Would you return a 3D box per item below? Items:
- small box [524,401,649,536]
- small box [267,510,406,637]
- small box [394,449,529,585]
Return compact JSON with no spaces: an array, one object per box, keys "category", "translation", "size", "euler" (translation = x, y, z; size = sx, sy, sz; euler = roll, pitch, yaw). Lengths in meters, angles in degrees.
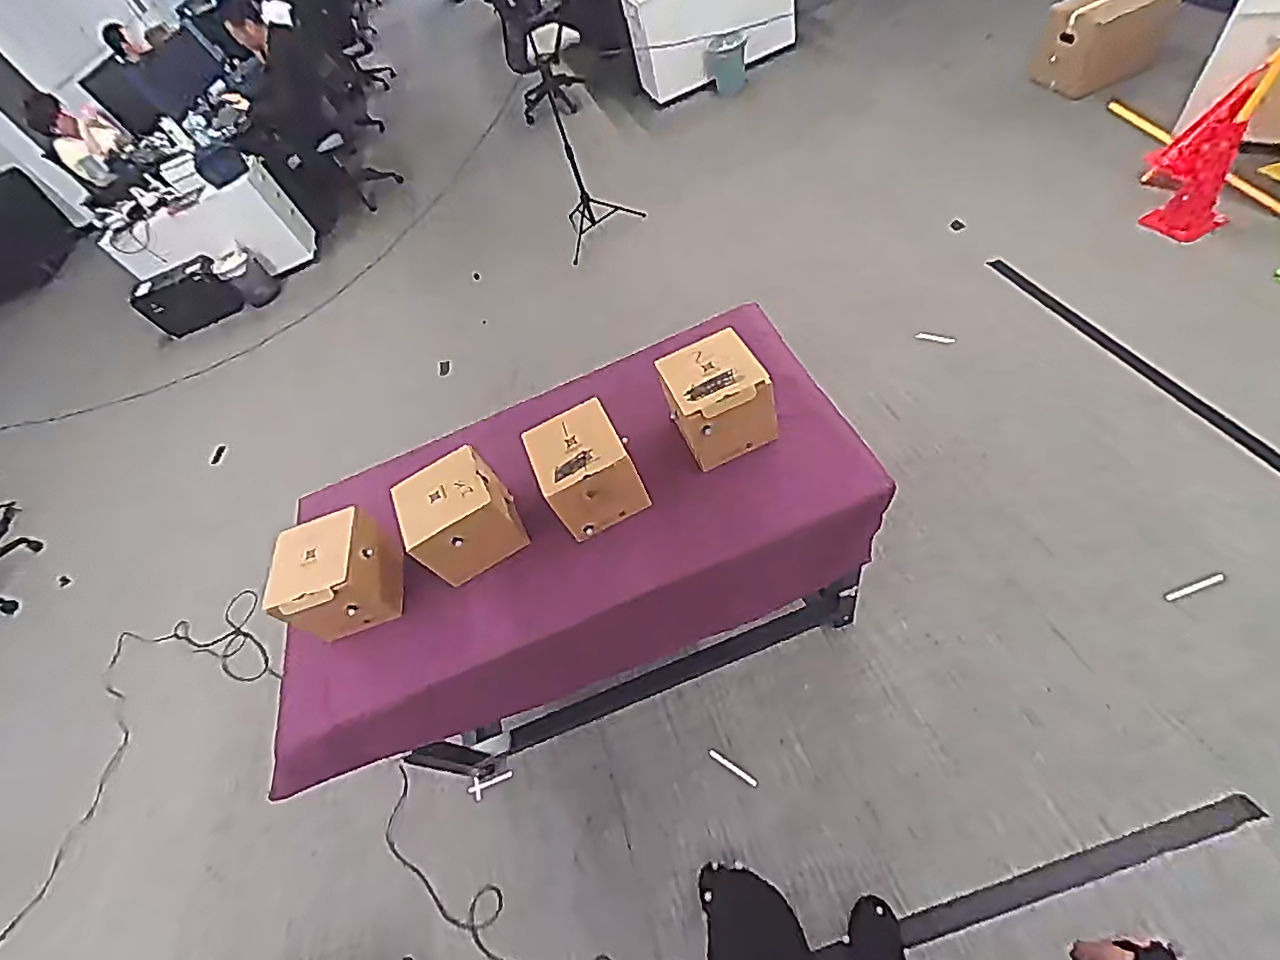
[{"category":"small box","translation":[-0.100,-0.014,1.052],"size":[0.168,0.176,0.179],"euler":[-27,51,-2]},{"category":"small box","translation":[-0.583,0.192,1.066],"size":[0.168,0.176,0.179],"euler":[-19,52,3]},{"category":"small box","translation":[-0.348,0.079,1.068],"size":[0.179,0.176,0.168],"euler":[-30,53,-5]}]
